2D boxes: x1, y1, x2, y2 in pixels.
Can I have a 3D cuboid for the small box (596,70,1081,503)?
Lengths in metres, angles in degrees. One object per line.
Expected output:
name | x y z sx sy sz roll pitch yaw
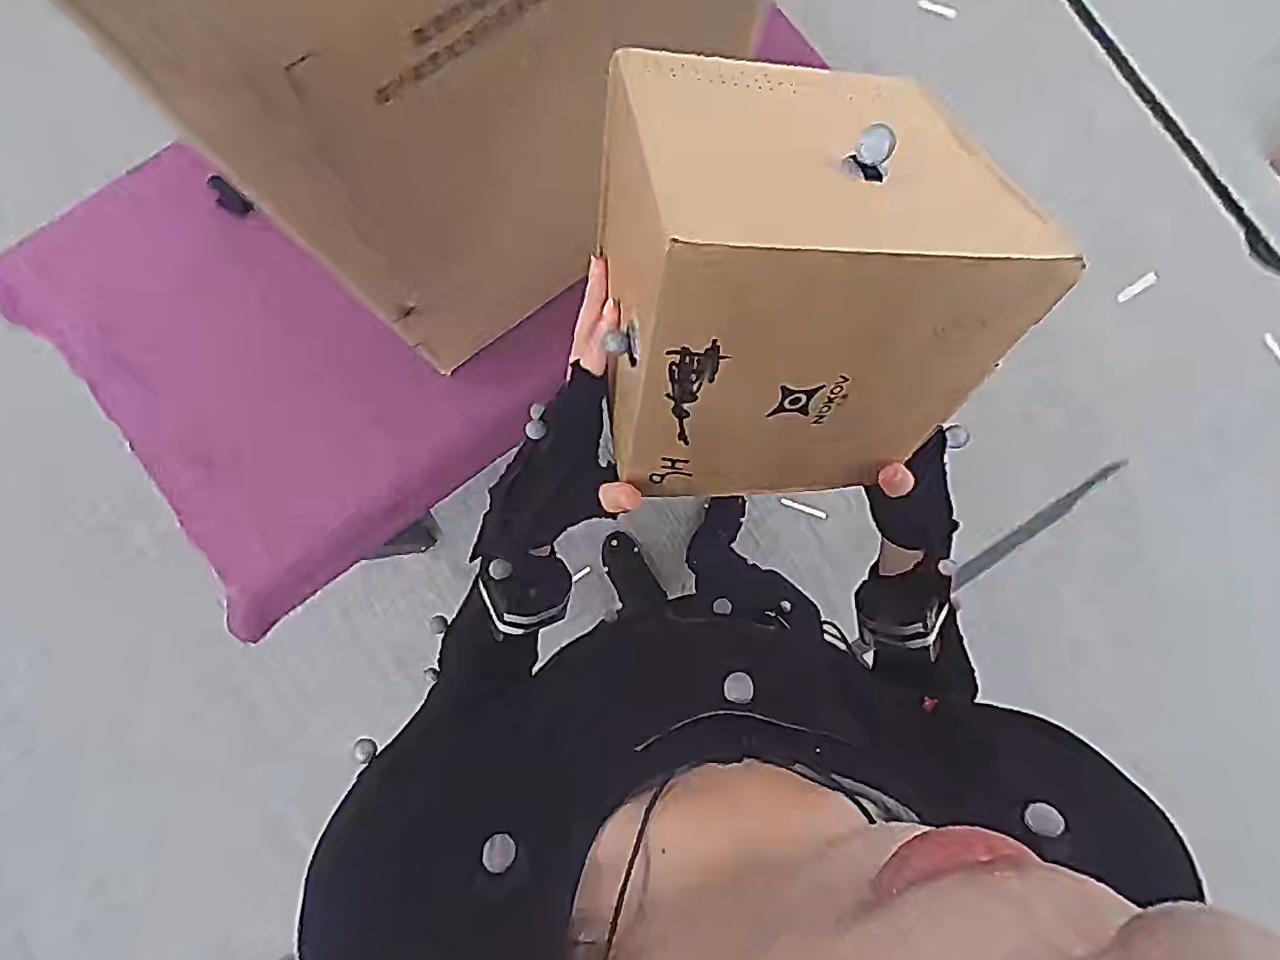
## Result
small box | 0.075 -0.103 0.311 0.179 0.168 0.176 -2 55 -11
